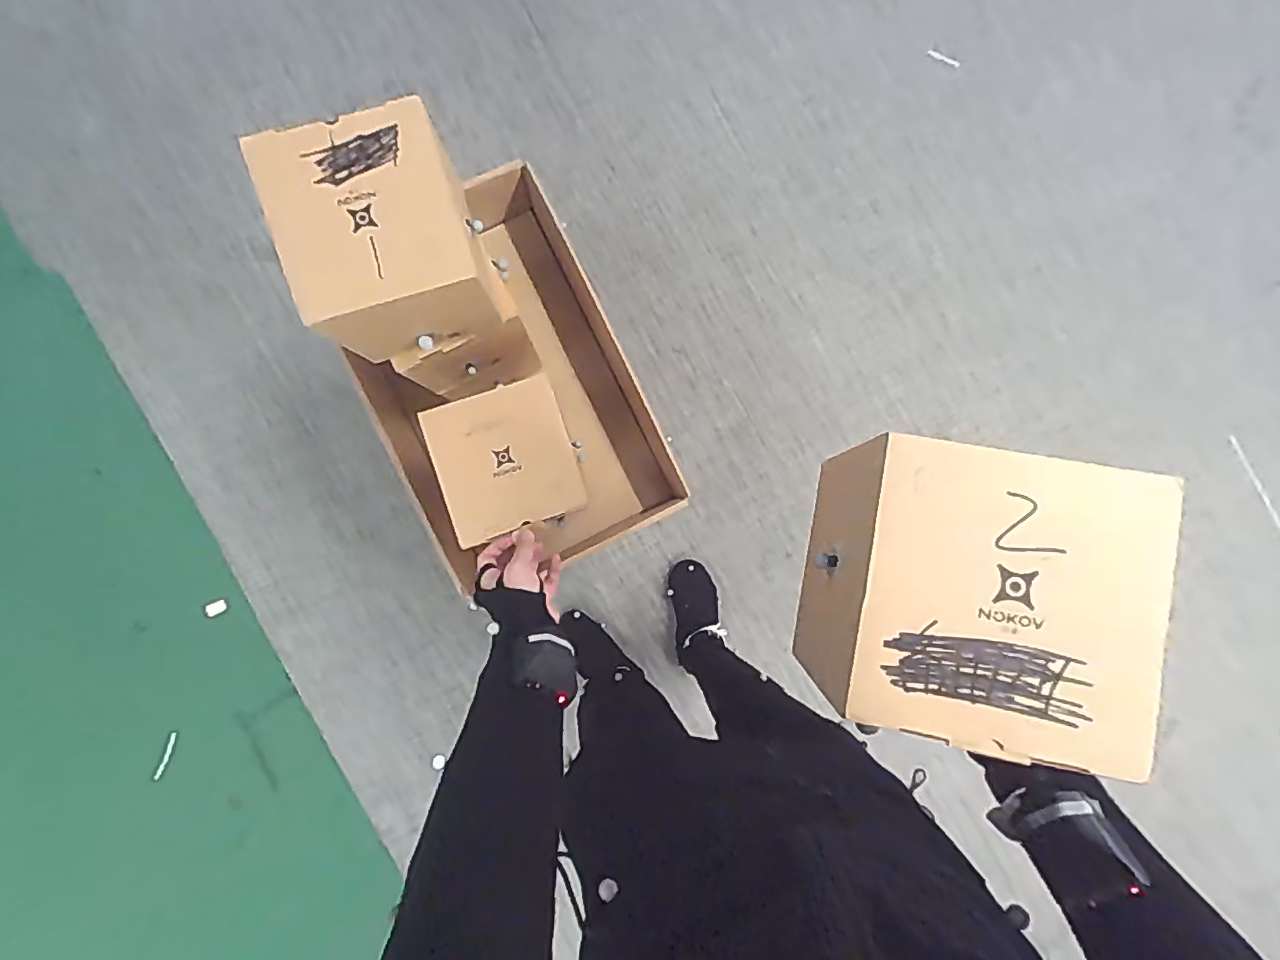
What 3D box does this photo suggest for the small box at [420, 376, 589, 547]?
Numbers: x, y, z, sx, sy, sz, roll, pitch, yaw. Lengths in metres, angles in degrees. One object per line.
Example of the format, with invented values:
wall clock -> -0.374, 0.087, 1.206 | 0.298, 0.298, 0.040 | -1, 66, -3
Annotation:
small box -> -0.170, -0.020, 0.738 | 0.168, 0.176, 0.179 | -18, 88, -5

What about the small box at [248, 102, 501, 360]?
small box -> -0.262, -0.248, 0.579 | 0.168, 0.176, 0.179 | -18, 92, -5

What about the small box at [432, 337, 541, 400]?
small box -> -0.281, -0.244, 0.904 | 0.168, 0.176, 0.179 | -27, 92, -4

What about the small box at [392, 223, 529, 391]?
small box -> -0.268, -0.244, 0.743 | 0.168, 0.176, 0.179 | -28, 92, -5
